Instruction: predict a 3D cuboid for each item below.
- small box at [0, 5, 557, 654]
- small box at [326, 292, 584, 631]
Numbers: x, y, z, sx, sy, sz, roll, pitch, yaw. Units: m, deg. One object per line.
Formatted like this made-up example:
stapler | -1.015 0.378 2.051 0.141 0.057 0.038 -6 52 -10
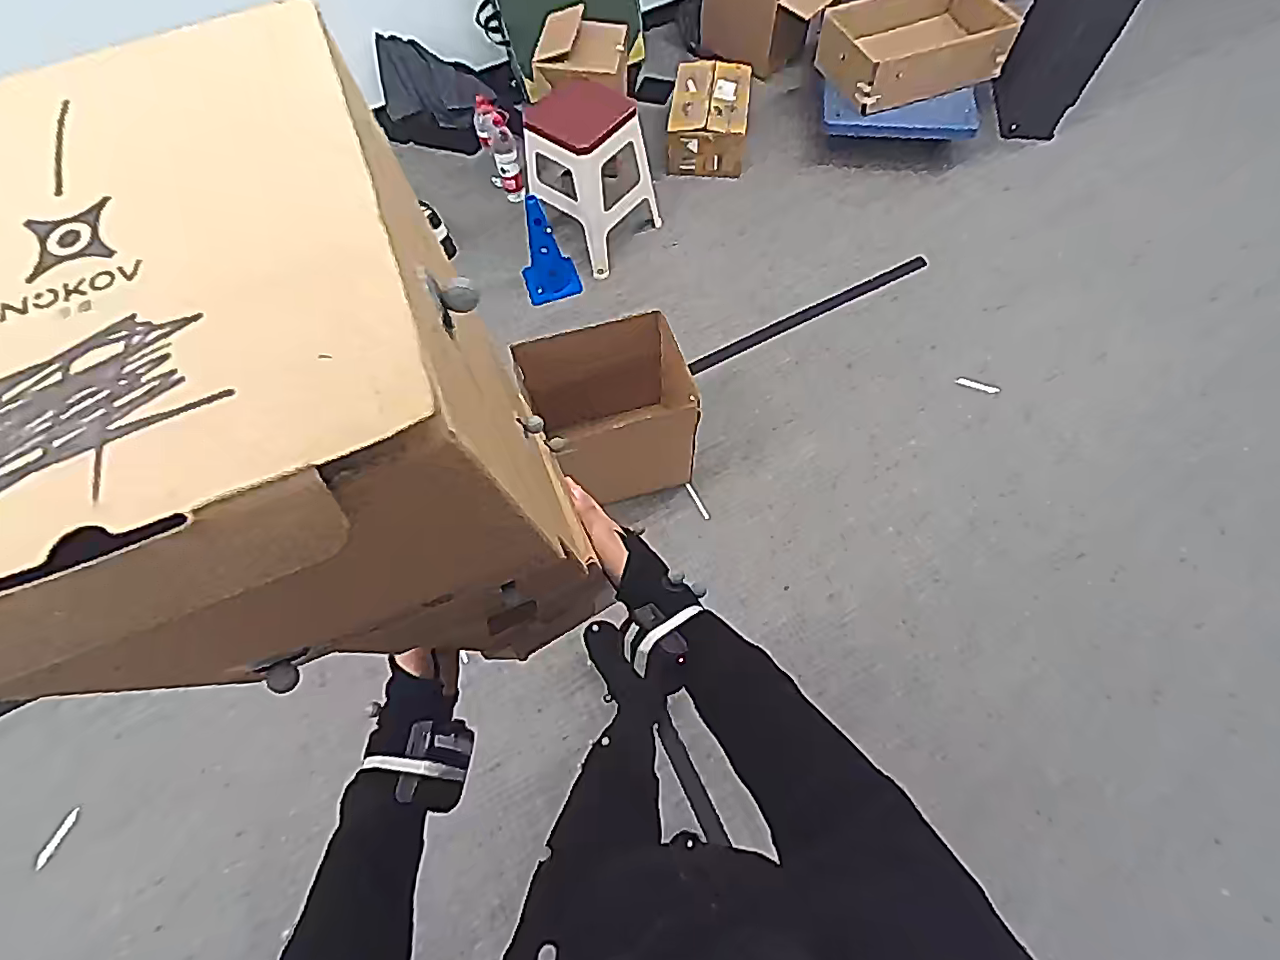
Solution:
small box | -0.146 -0.037 0.232 0.168 0.176 0.179 -21 72 -6
small box | -0.149 0.001 0.393 0.168 0.176 0.179 -21 72 -5
